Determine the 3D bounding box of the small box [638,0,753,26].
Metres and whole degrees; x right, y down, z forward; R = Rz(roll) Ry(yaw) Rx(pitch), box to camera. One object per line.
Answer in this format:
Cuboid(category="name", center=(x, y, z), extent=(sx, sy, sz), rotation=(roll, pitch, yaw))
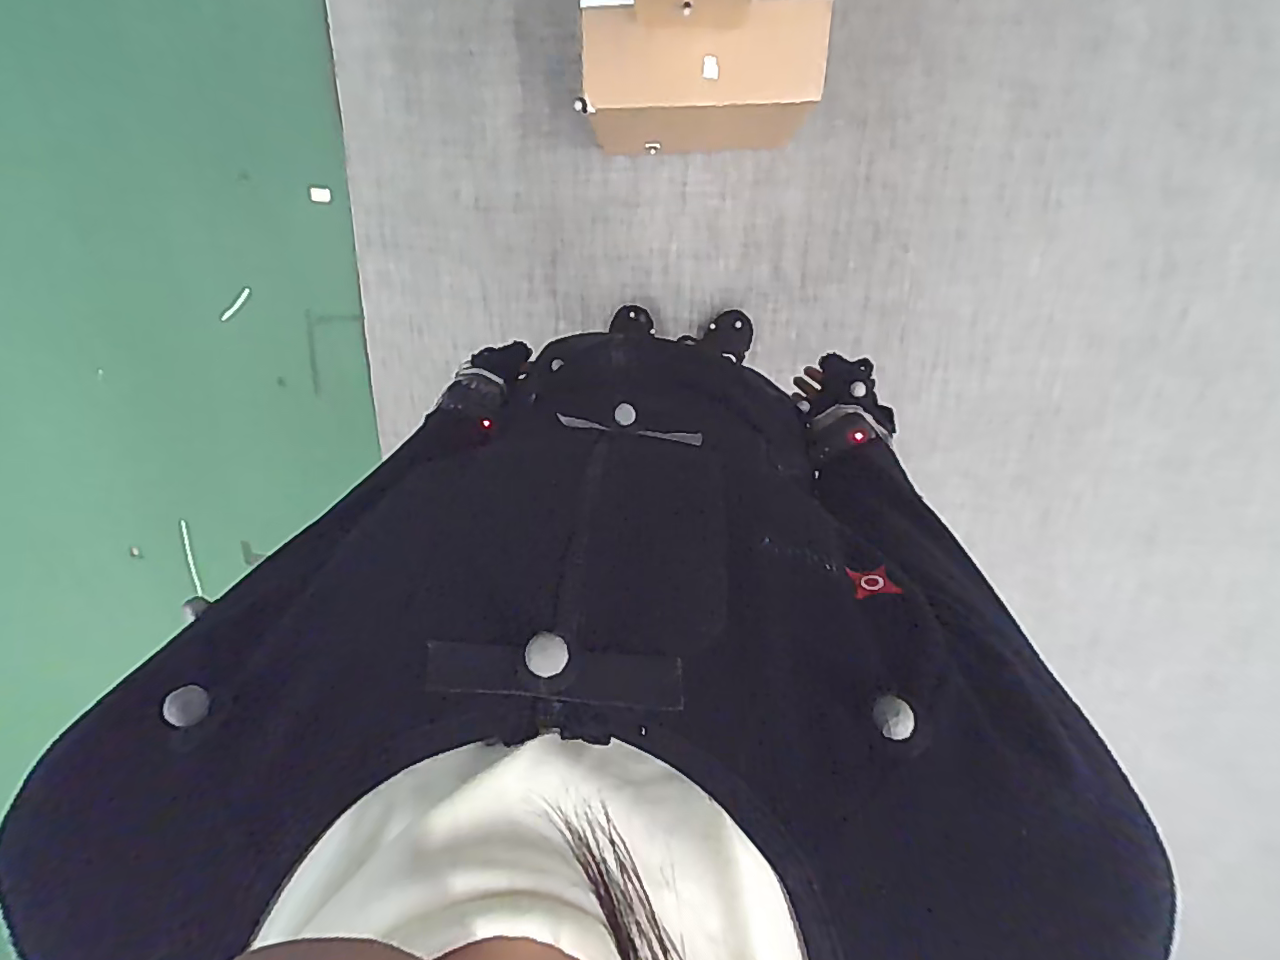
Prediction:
Cuboid(category="small box", center=(0.085, -0.783, 0.778), extent=(0.179, 0.176, 0.168), rotation=(2, 115, 4))
